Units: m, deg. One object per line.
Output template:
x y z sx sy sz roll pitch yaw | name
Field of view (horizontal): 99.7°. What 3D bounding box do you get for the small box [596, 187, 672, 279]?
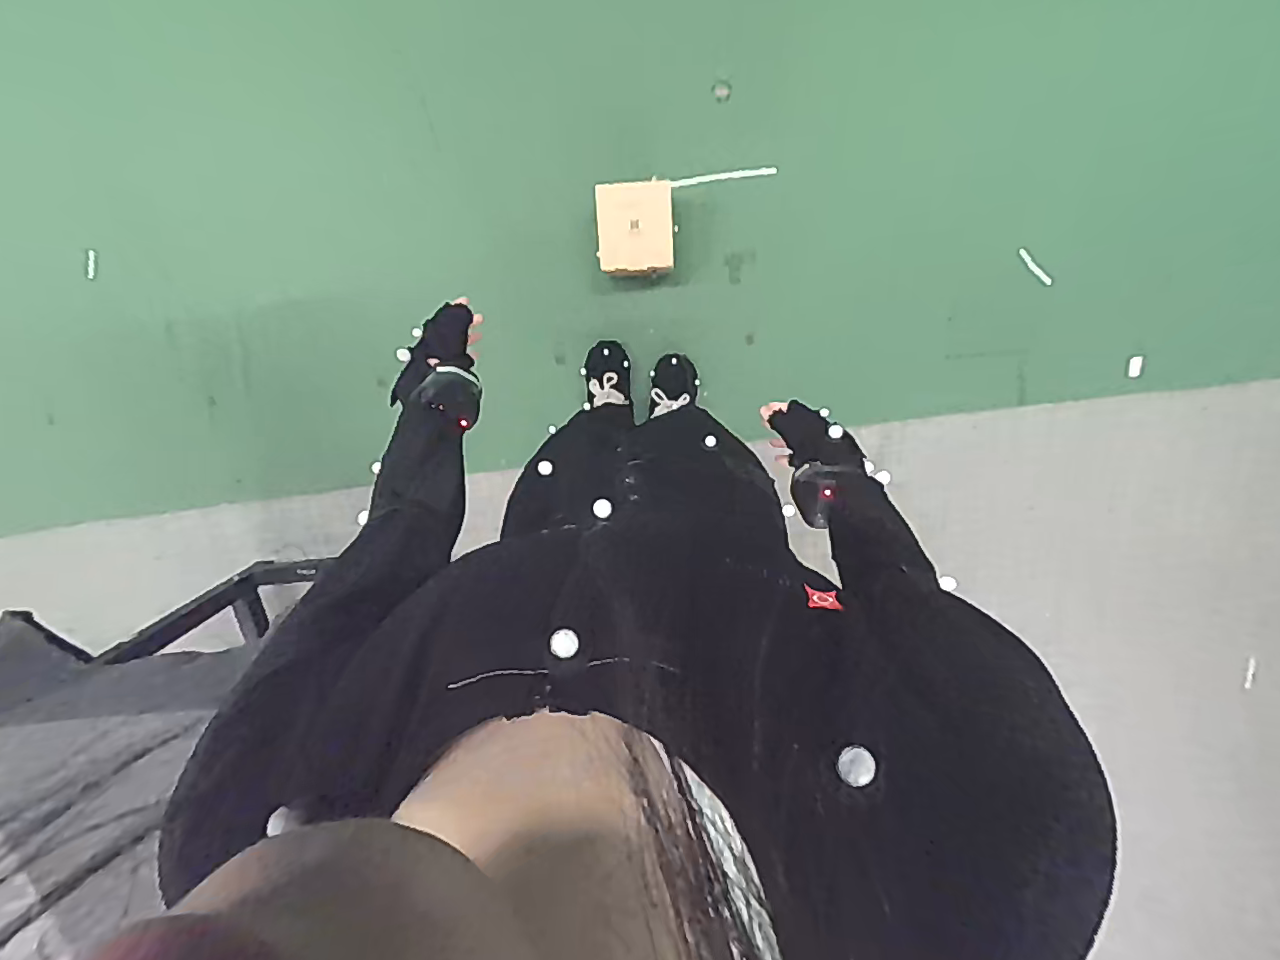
-0.008 -0.569 1.267 0.168 0.176 0.179 -2 106 3 | small box
